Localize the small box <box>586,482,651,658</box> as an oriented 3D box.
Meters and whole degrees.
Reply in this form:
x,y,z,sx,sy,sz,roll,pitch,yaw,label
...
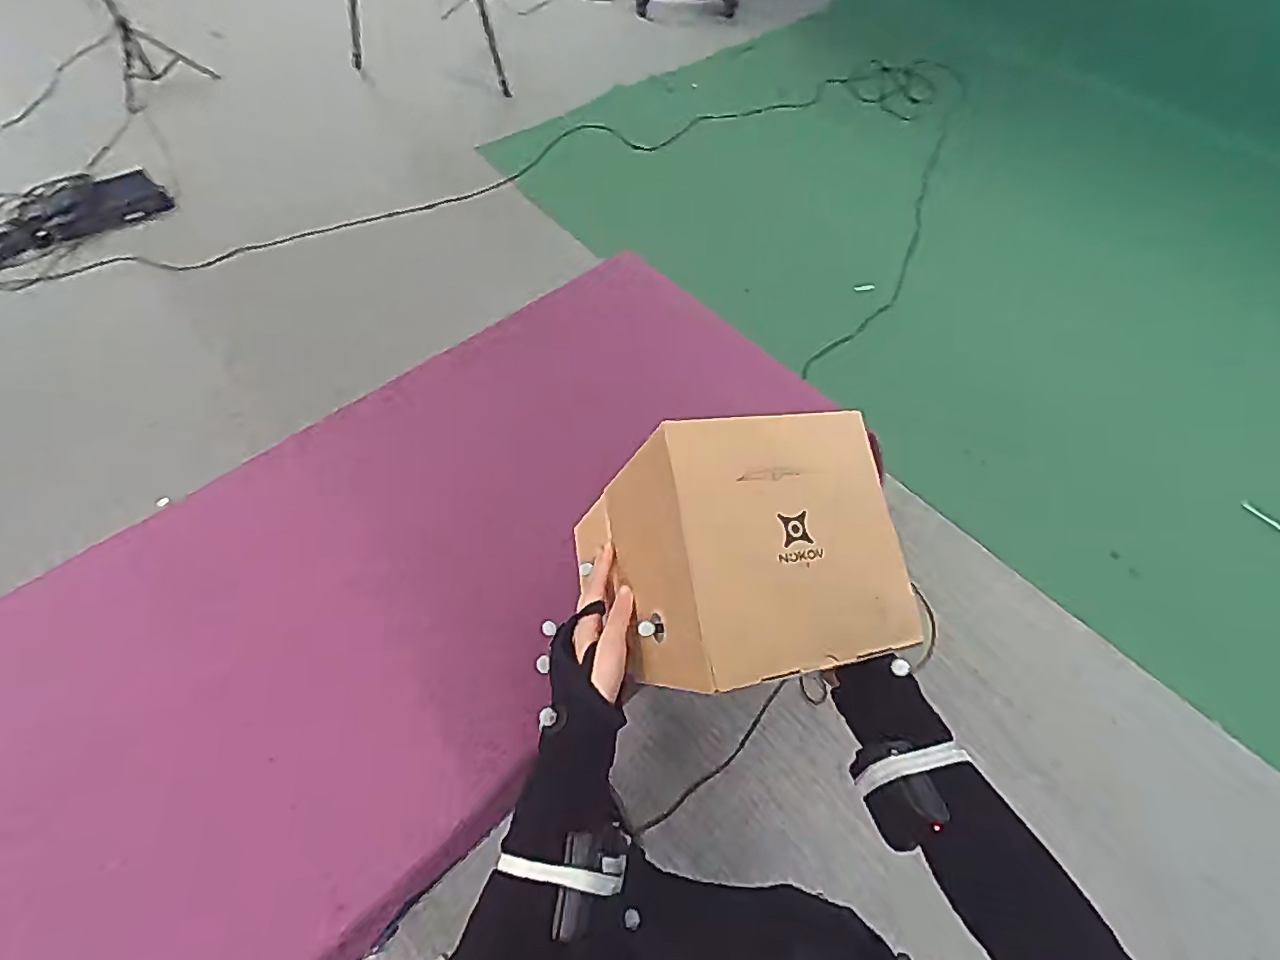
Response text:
x,y,z,sx,sy,sz,roll,pitch,yaw,label
0.041,0.100,0.591,0.179,0.176,0.168,-3,74,-18,small box

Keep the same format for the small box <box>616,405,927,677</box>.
x,y,z,sx,sy,sz,roll,pitch,yaw,label
0.086,0.053,0.442,0.168,0.176,0.179,-4,74,-19,small box
